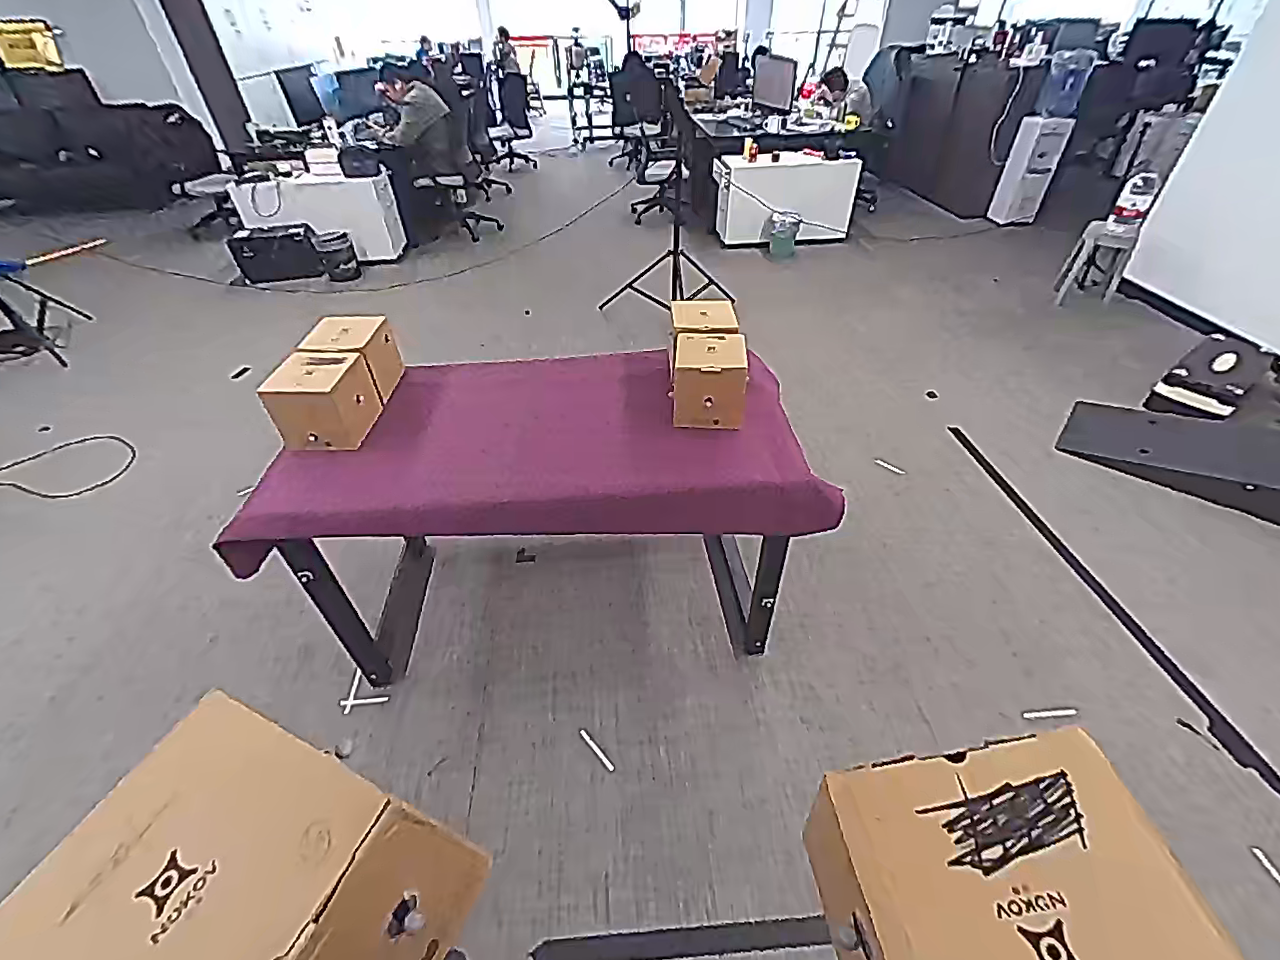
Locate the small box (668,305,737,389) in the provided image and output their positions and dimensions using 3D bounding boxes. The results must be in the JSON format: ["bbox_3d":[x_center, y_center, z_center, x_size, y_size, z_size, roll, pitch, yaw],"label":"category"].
[{"bbox_3d":[0.163,-0.364,1.473,0.168,0.176,0.179,-1,40,0],"label":"small box"}]

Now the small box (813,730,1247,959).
[{"bbox_3d":[0.219,0.285,0.334,0.168,0.176,0.179,-11,46,0],"label":"small box"}]

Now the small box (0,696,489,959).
[{"bbox_3d":[-0.228,0.275,0.344,0.179,0.176,0.168,12,48,23],"label":"small box"}]

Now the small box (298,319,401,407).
[{"bbox_3d":[-0.753,-0.309,1.427,0.168,0.176,0.179,-1,42,0],"label":"small box"}]
